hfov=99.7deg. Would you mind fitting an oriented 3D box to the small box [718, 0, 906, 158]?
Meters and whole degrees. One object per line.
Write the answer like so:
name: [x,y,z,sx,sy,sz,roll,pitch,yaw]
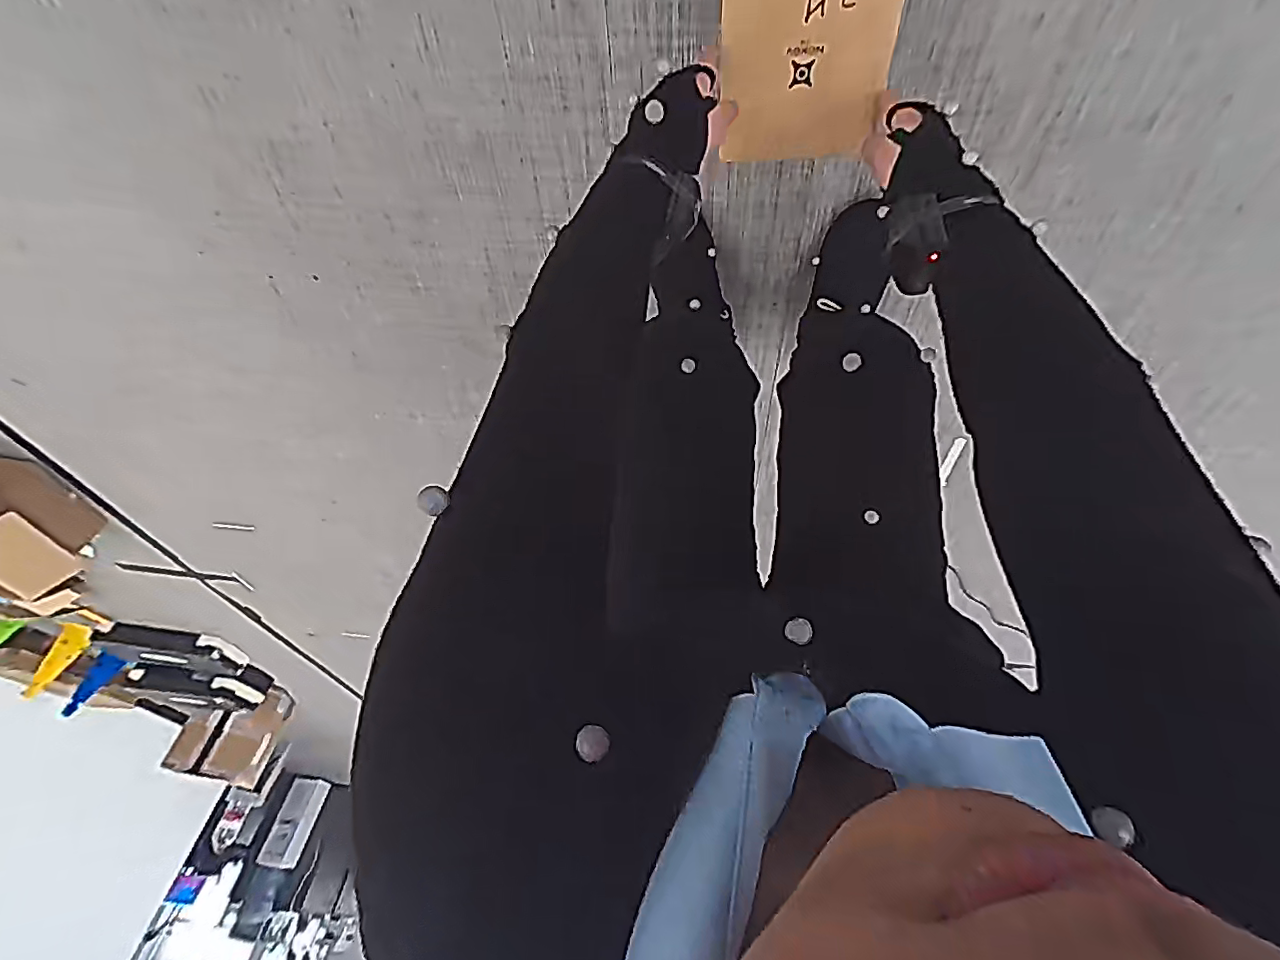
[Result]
small box: [0.173,-0.472,0.576,0.168,0.176,0.179,3,139,9]
